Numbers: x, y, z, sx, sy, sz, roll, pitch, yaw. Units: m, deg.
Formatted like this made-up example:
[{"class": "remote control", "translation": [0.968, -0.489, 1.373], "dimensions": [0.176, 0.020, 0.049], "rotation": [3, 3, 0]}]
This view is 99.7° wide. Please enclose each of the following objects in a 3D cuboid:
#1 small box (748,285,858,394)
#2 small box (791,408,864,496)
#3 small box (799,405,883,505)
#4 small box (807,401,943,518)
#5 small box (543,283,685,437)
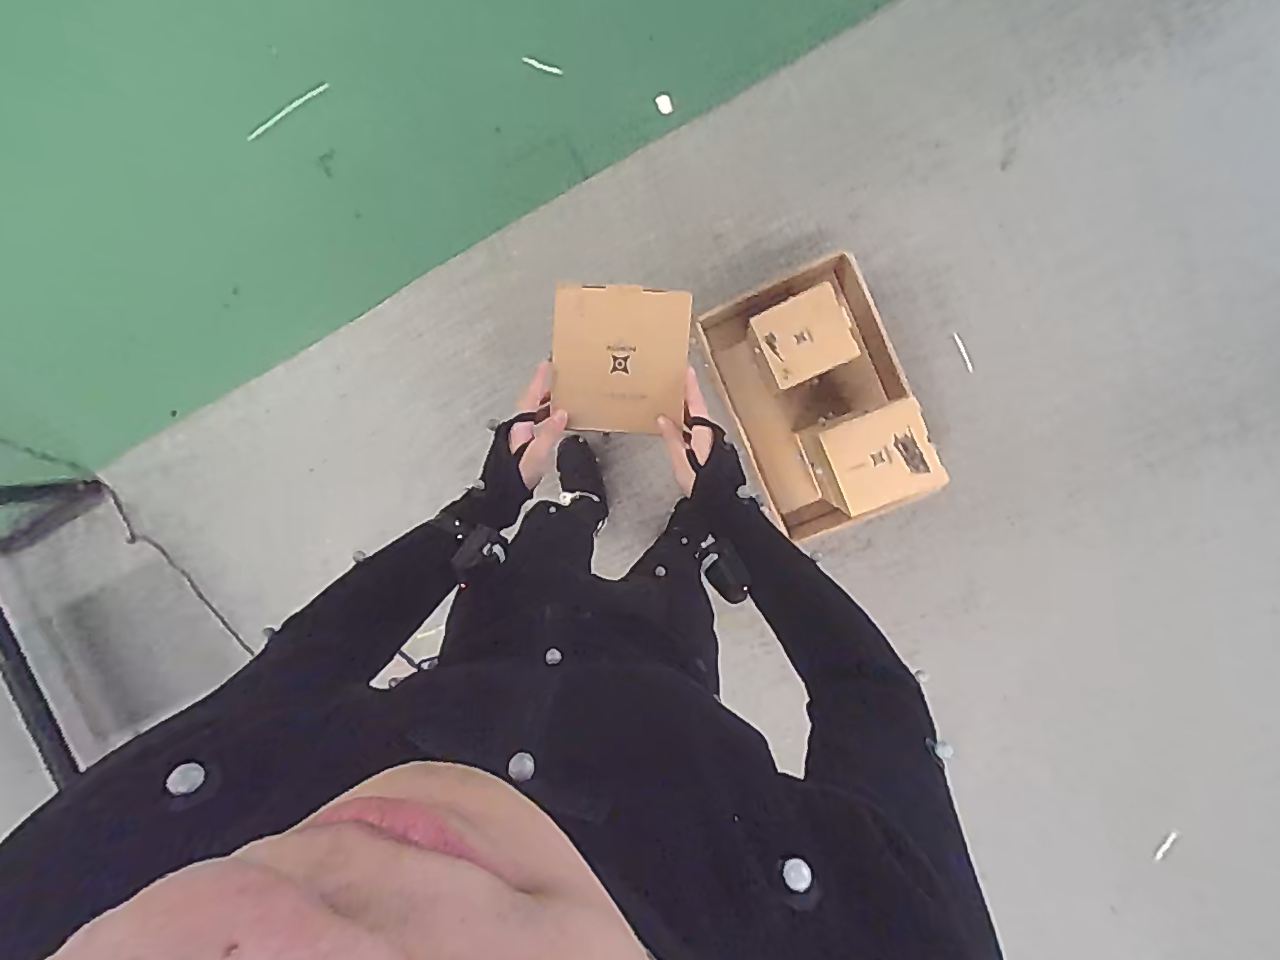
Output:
[{"class": "small box", "translation": [0.349, -0.301, 1.191], "dimensions": [0.179, 0.176, 0.168], "rotation": [-23, 91, 11]}, {"class": "small box", "translation": [0.489, -0.070, 1.361], "dimensions": [0.179, 0.176, 0.168], "rotation": [-21, 91, 11]}, {"class": "small box", "translation": [0.463, -0.056, 1.199], "dimensions": [0.179, 0.176, 0.168], "rotation": [-21, 91, 11]}, {"class": "small box", "translation": [0.438, -0.043, 1.036], "dimensions": [0.179, 0.176, 0.168], "rotation": [-21, 90, 12]}, {"class": "small box", "translation": [-0.034, -0.151, 0.732], "dimensions": [0.168, 0.176, 0.179], "rotation": [3, 95, -1]}]
